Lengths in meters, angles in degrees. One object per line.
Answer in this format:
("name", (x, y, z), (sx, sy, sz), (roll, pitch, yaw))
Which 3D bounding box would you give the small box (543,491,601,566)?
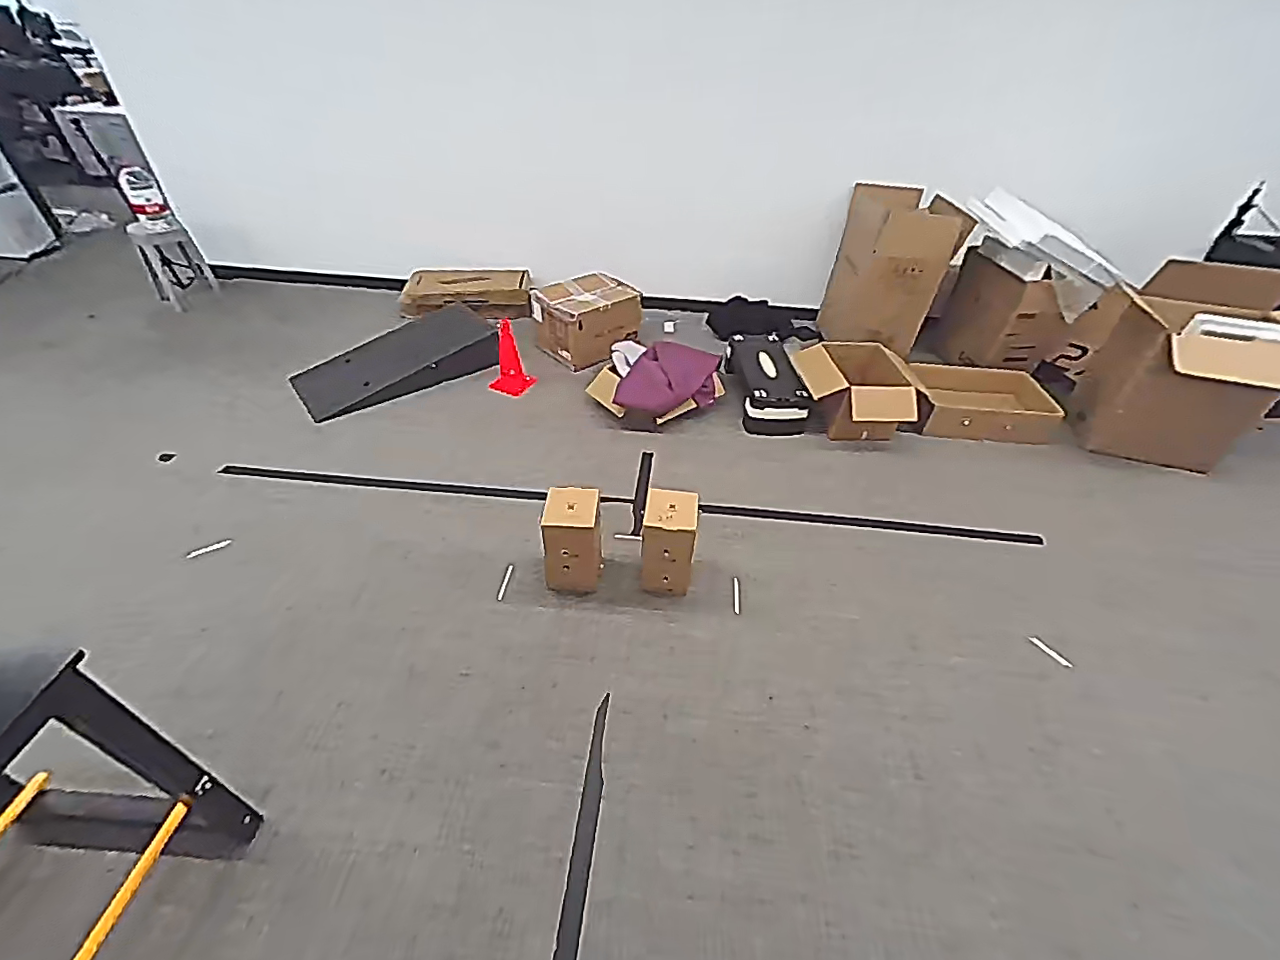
("small box", (-0.215, 0.157, 1.758), (0.168, 0.176, 0.179), (1, 42, 1))

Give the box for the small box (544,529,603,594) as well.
("small box", (-0.224, 0.278, 1.867), (0.179, 0.176, 0.168), (4, 41, 1))

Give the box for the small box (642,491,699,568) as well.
("small box", (0.098, 0.162, 1.766), (0.168, 0.176, 0.179), (6, 41, 4))

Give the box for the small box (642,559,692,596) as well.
("small box", (0.096, 0.283, 1.880), (0.168, 0.176, 0.179), (5, 42, 3))
